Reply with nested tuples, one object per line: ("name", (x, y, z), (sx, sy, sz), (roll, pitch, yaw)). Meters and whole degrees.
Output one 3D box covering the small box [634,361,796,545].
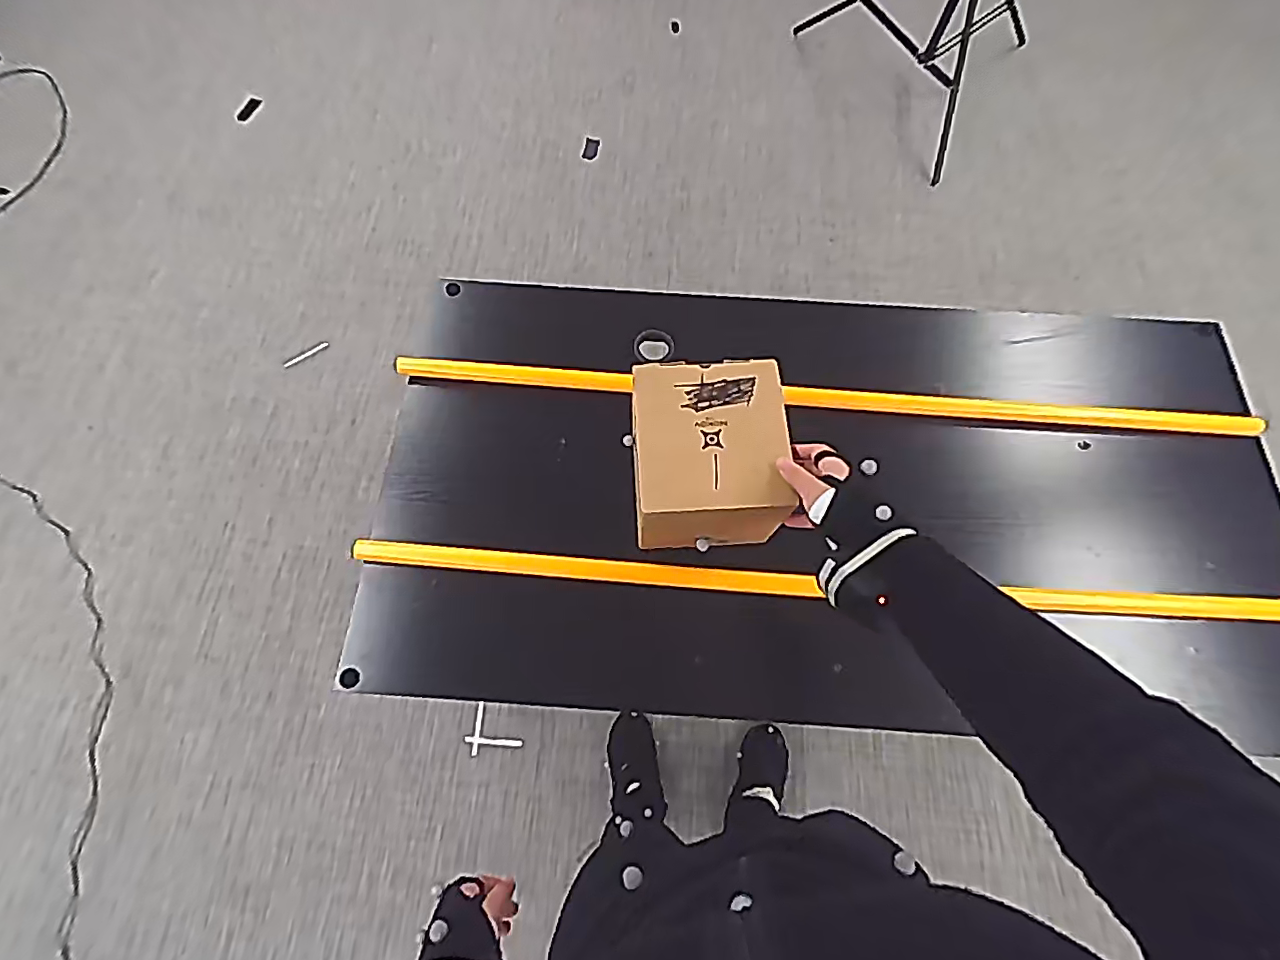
("small box", (0.077, -0.026, 0.664), (0.168, 0.176, 0.179), (-3, 71, -1))
